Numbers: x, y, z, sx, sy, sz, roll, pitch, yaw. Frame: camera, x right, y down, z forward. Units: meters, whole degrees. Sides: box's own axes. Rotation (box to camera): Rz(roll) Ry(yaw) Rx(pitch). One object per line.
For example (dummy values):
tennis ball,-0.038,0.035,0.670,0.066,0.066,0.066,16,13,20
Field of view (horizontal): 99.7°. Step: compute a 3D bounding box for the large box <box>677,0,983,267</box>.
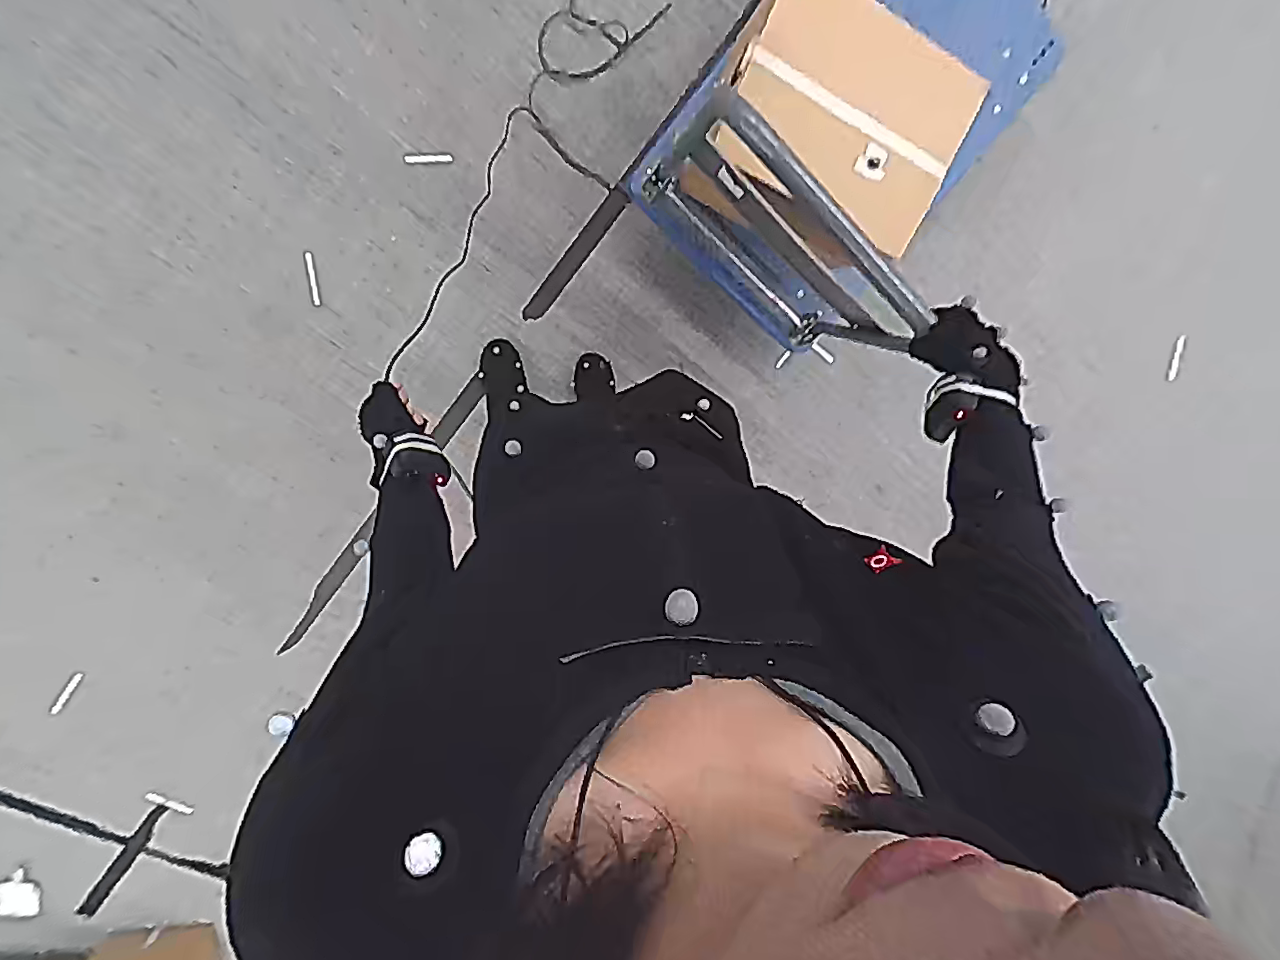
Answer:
large box,0.335,-0.661,1.060,0.408,0.320,0.320,21,104,-15
